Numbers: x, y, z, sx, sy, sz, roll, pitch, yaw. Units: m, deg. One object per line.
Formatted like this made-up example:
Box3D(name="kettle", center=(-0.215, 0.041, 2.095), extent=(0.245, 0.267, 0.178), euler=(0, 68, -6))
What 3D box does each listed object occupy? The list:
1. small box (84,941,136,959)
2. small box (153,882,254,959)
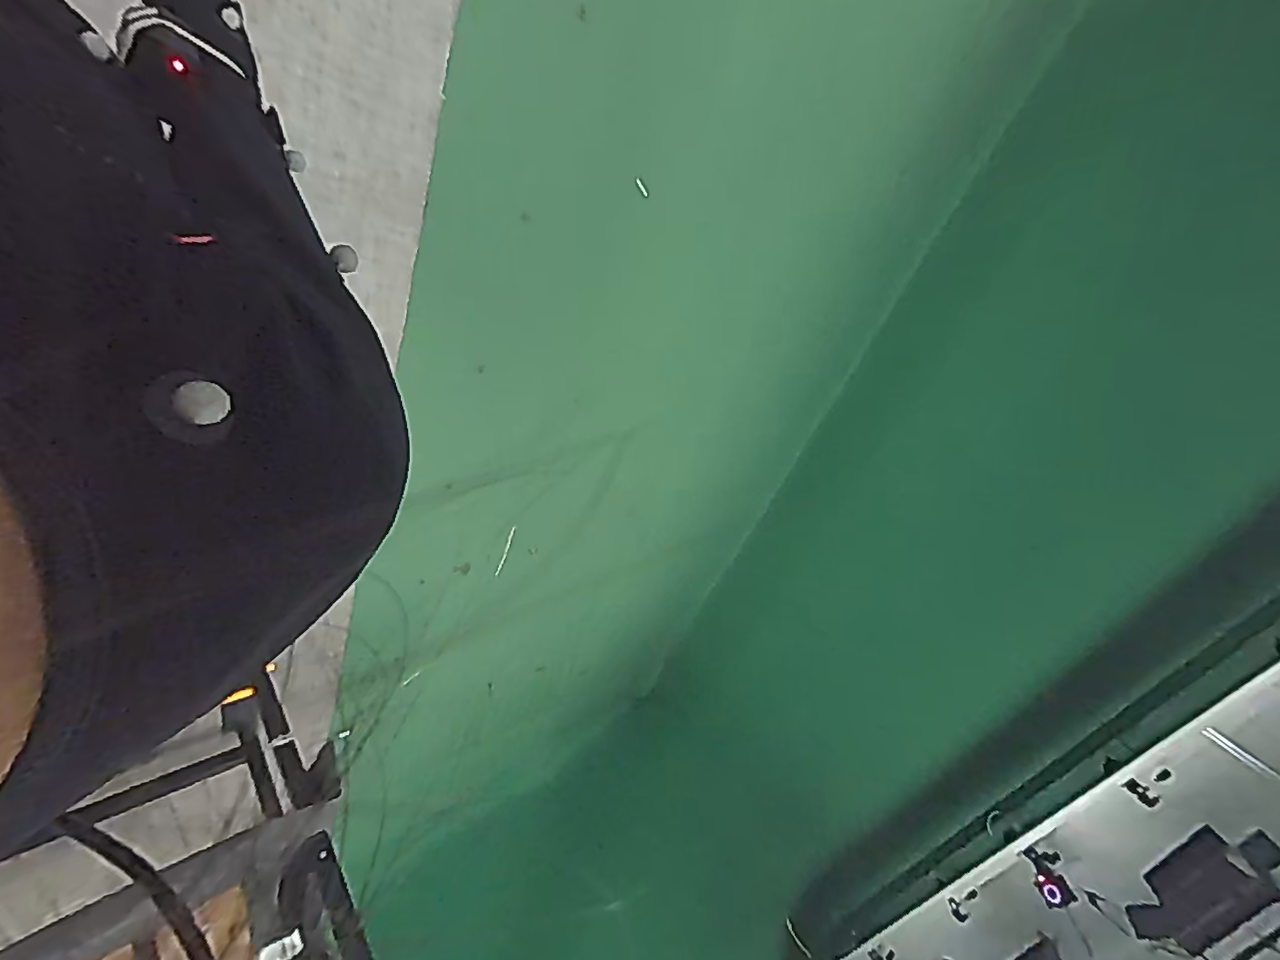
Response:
Box3D(name="small box", center=(-1.215, 1.176, 1.190), extent=(0.168, 0.176, 0.179), euler=(-13, 137, -45))
Box3D(name="small box", center=(-1.070, 1.145, 1.330), extent=(0.168, 0.176, 0.179), euler=(-12, 136, -44))
